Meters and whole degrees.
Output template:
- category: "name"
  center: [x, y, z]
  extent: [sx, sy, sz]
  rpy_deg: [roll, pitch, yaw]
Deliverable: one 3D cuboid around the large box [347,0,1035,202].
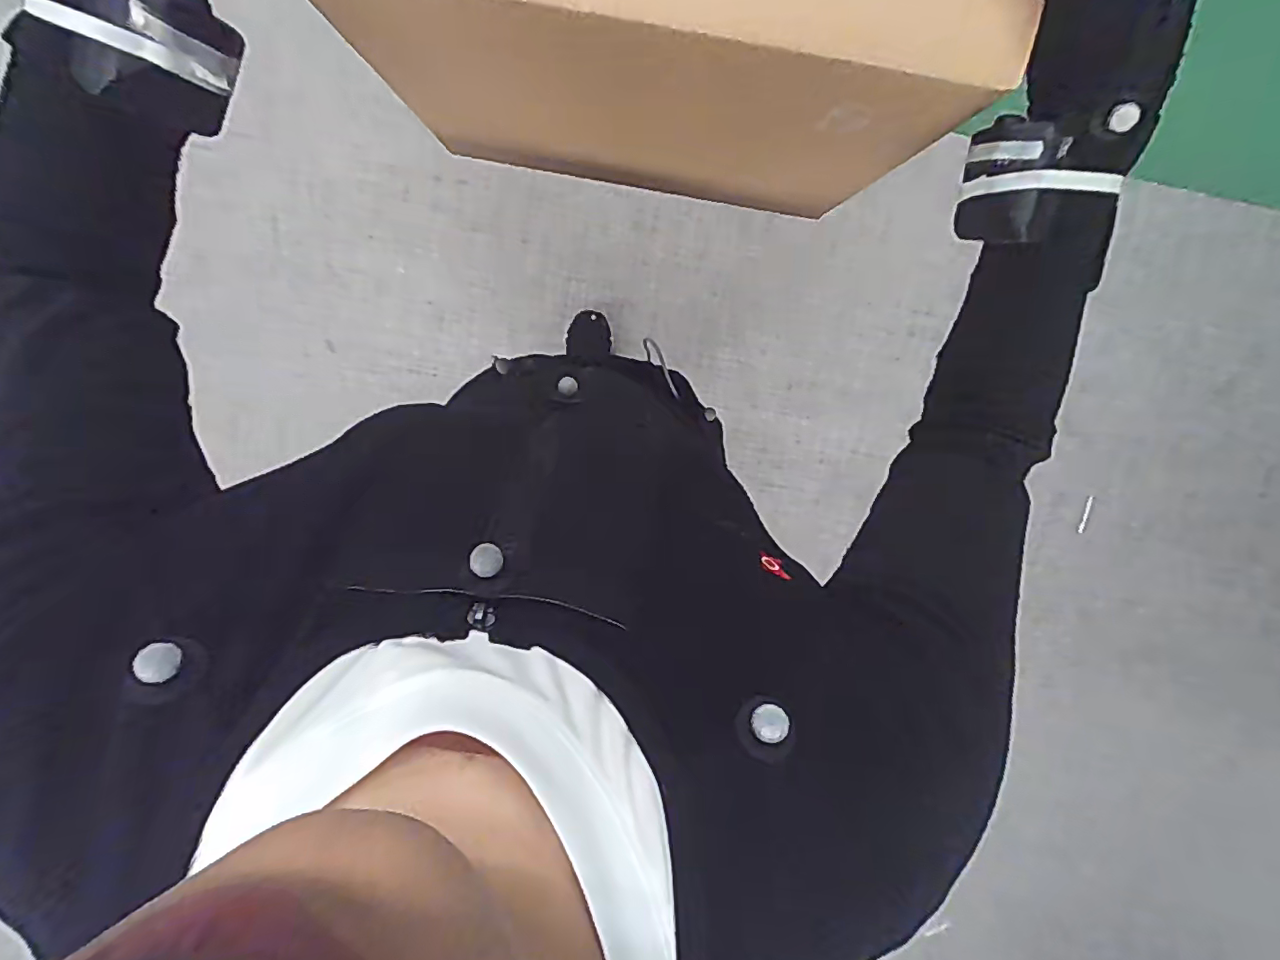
- category: "large box"
  center: [0.029, -0.435, 0.401]
  extent: [0.408, 0.320, 0.320]
  rpy_deg: [7, 105, -5]
